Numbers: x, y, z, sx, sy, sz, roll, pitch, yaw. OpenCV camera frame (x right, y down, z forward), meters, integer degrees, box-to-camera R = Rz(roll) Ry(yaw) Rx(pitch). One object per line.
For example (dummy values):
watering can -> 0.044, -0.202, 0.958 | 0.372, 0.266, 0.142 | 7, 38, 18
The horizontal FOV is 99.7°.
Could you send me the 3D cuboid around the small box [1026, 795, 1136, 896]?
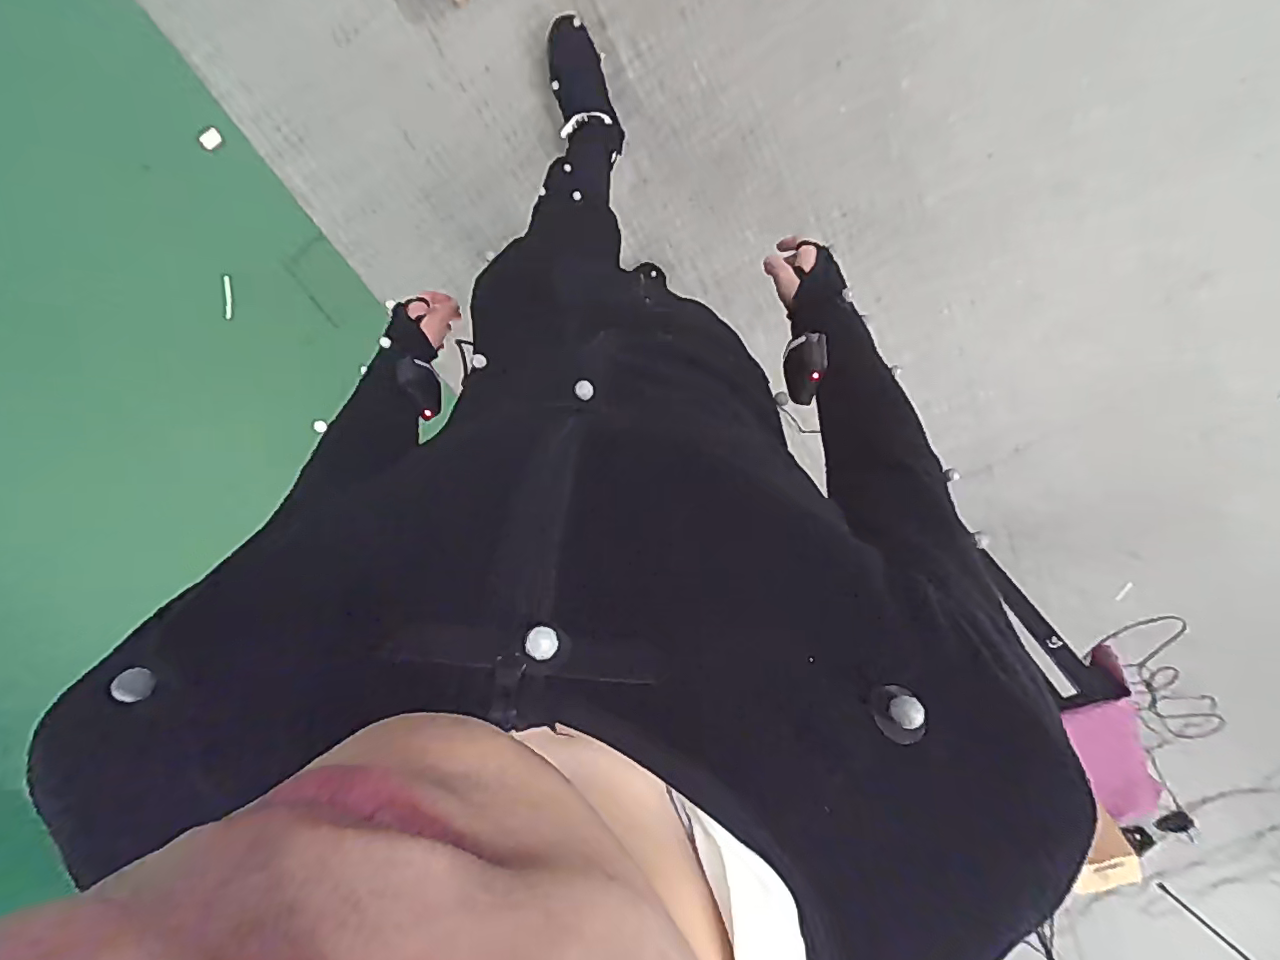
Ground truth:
small box -> 1.190, 0.985, 1.469 | 0.168, 0.176, 0.179 | -27, 119, 16
